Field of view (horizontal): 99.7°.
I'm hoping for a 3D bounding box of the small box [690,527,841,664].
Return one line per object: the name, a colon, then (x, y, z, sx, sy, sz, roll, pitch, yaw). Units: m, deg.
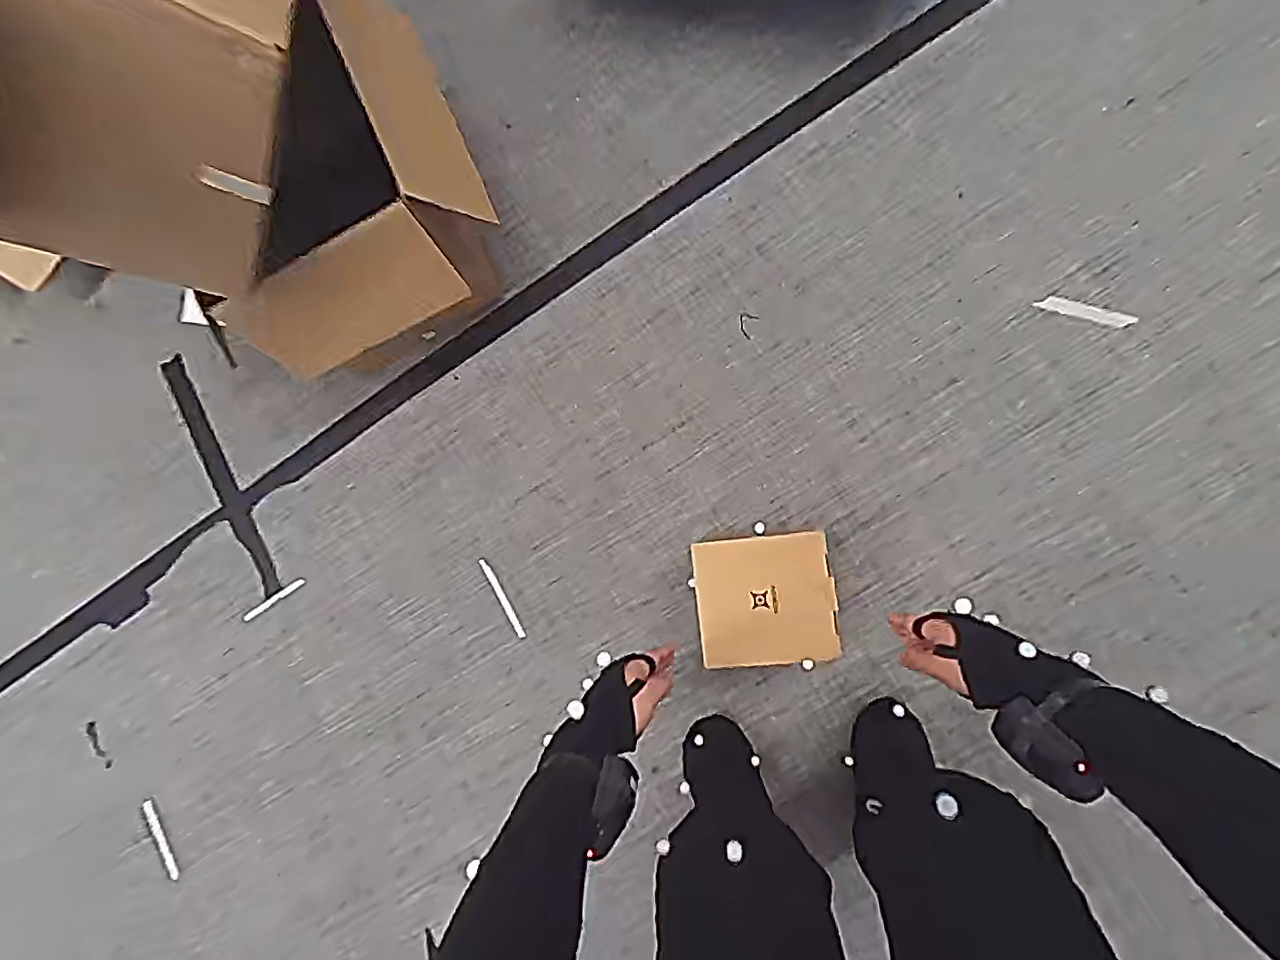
small box: (0.174, 0.158, 0.775, 0.179, 0.176, 0.168, -7, 84, 9)
